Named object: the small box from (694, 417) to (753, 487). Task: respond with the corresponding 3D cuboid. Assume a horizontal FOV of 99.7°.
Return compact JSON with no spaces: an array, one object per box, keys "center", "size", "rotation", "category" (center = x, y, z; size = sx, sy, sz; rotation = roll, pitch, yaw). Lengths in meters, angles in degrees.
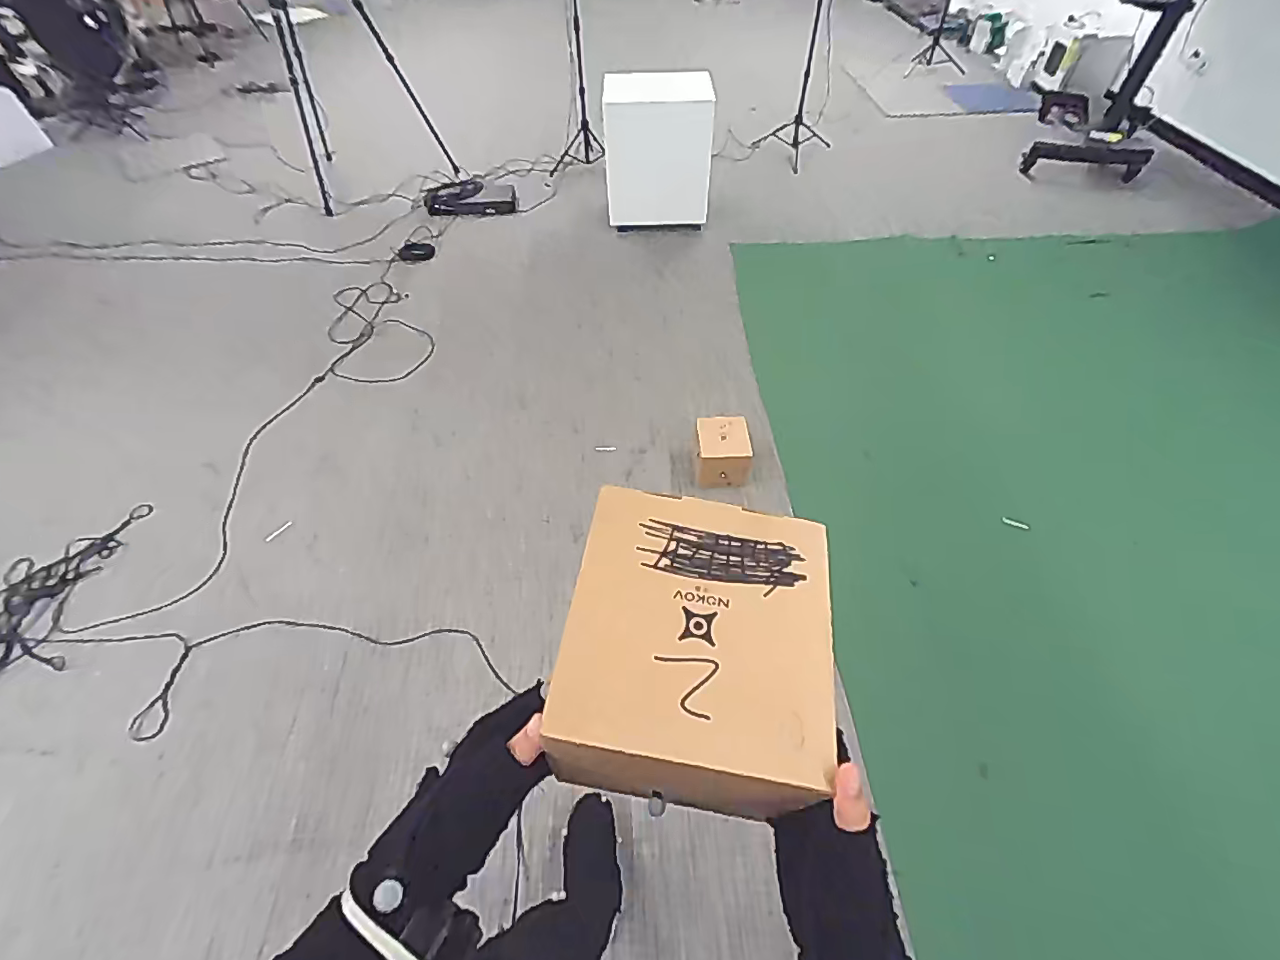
[{"center":[0.274,-0.089,1.811],"size":[0.168,0.176,0.179],"rotation":[-2,52,-1],"category":"small box"}]
